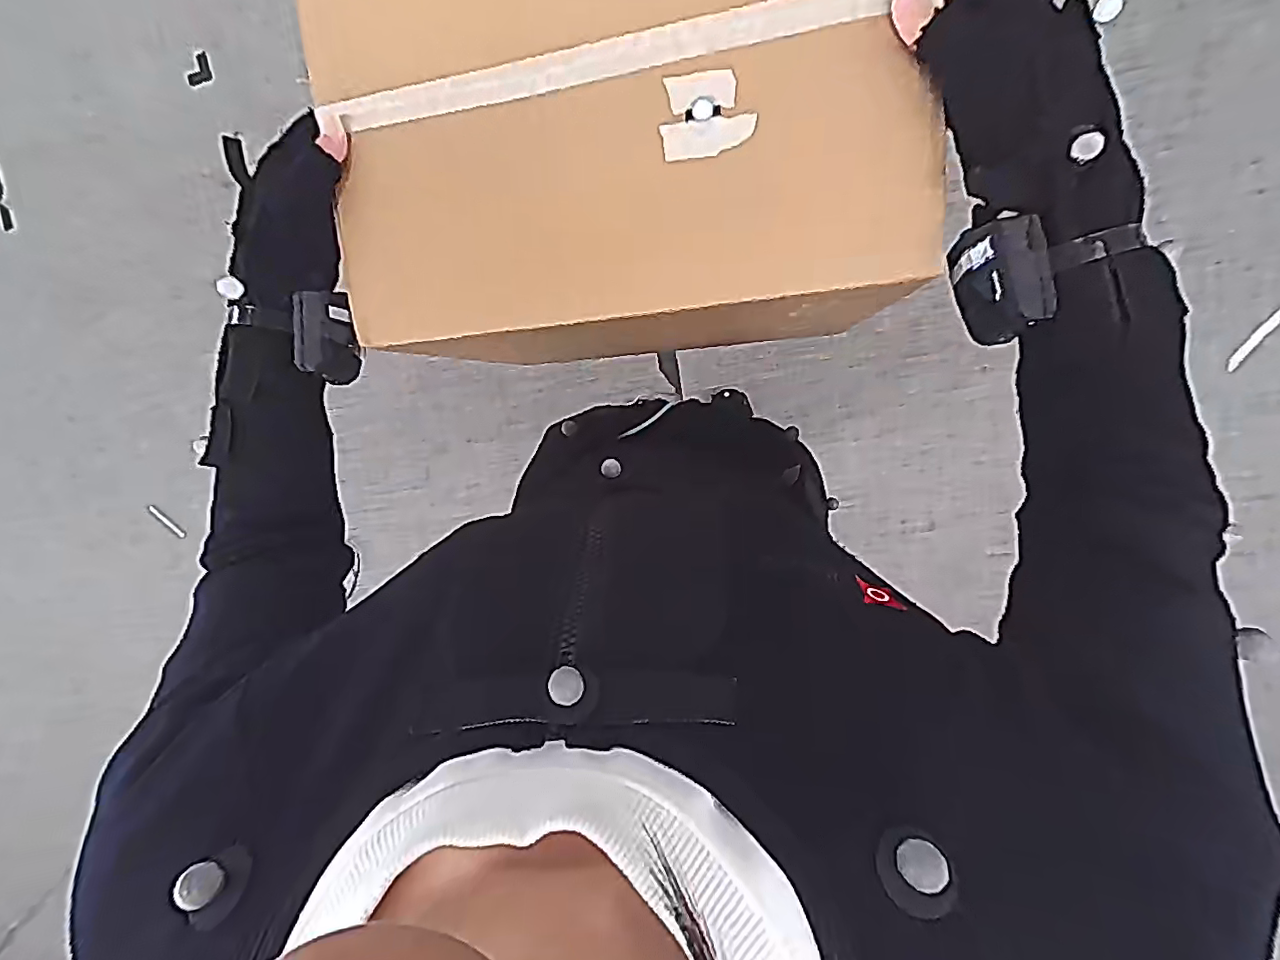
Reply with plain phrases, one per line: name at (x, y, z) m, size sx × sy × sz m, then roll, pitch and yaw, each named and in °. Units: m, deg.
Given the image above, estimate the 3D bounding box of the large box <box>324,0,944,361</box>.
large box at (0.004, -0.298, 0.499) m, size 0.408 × 0.320 × 0.320 m, roll -5°, pitch 99°, yaw 10°
